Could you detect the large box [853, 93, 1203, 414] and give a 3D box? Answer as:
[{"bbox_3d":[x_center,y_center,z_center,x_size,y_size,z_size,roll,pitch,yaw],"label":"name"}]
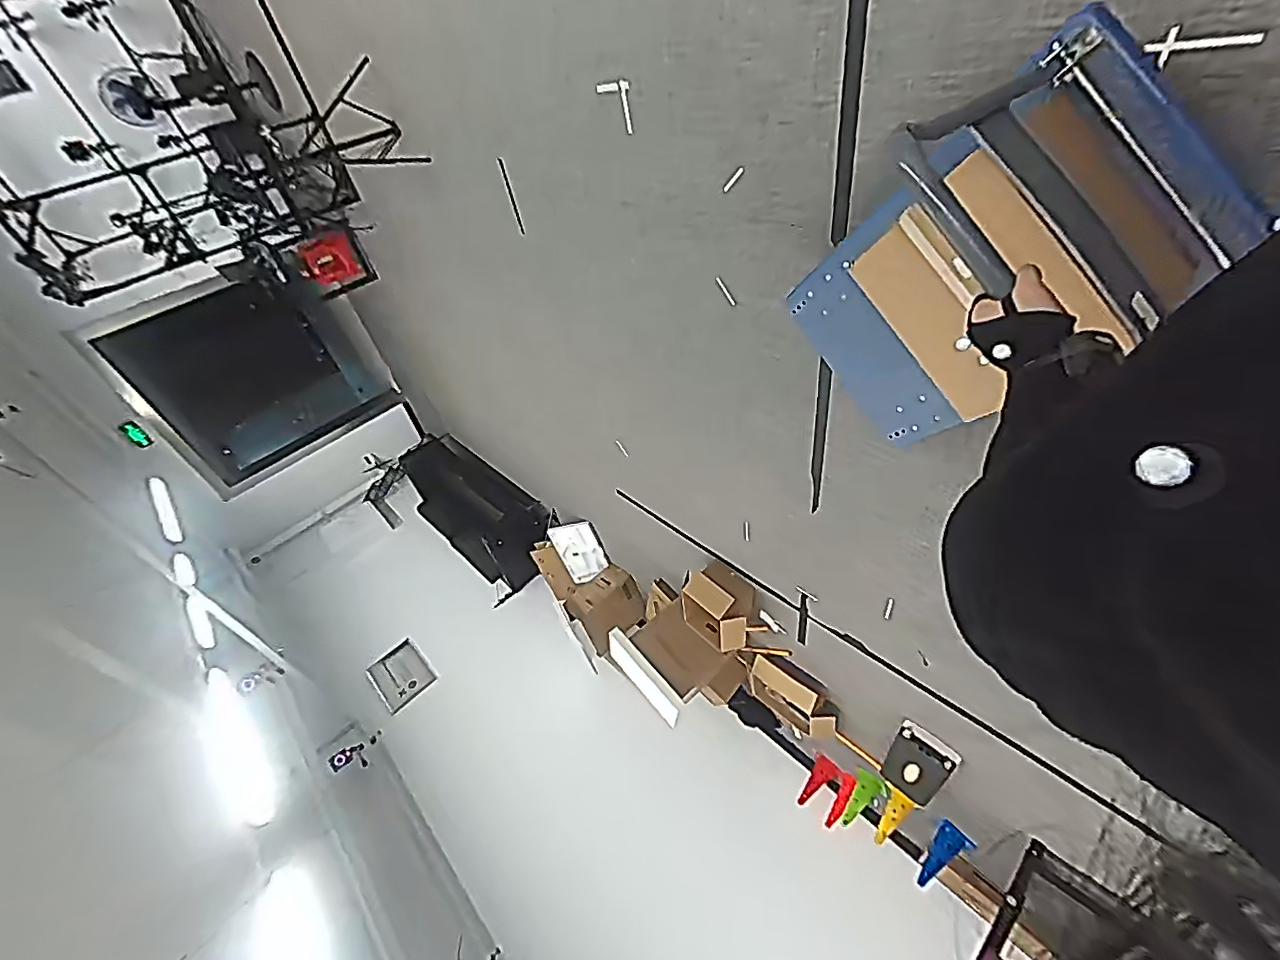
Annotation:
[{"bbox_3d":[0.708,-0.405,1.017,0.408,0.320,0.320,53,155,1],"label":"large box"}]
